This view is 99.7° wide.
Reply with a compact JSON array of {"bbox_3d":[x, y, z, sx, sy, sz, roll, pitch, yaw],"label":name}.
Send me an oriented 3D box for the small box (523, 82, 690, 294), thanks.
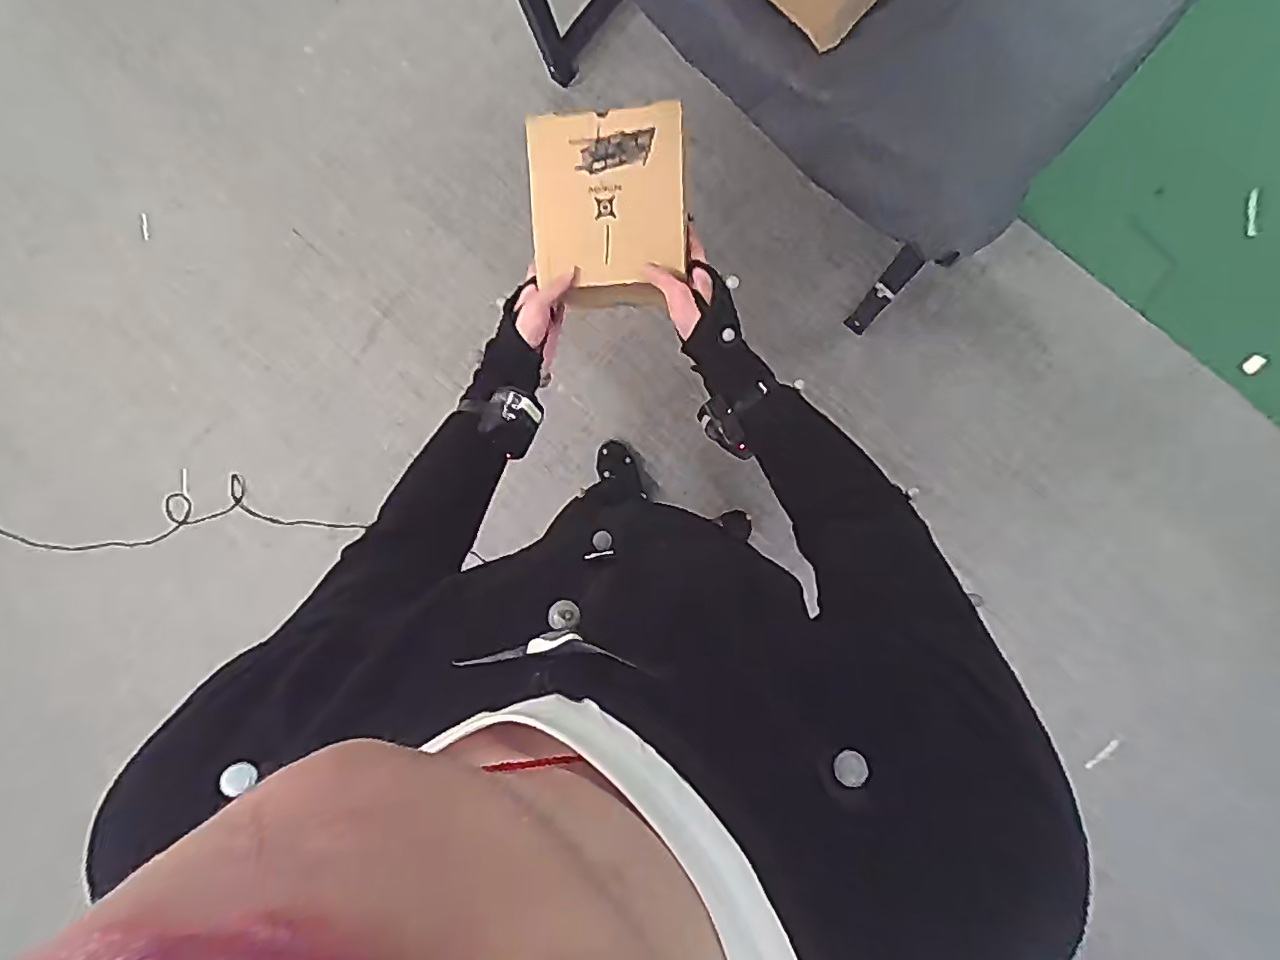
[{"bbox_3d":[-0.028,-0.325,0.637,0.168,0.176,0.179,0,102,8],"label":"small box"}]
